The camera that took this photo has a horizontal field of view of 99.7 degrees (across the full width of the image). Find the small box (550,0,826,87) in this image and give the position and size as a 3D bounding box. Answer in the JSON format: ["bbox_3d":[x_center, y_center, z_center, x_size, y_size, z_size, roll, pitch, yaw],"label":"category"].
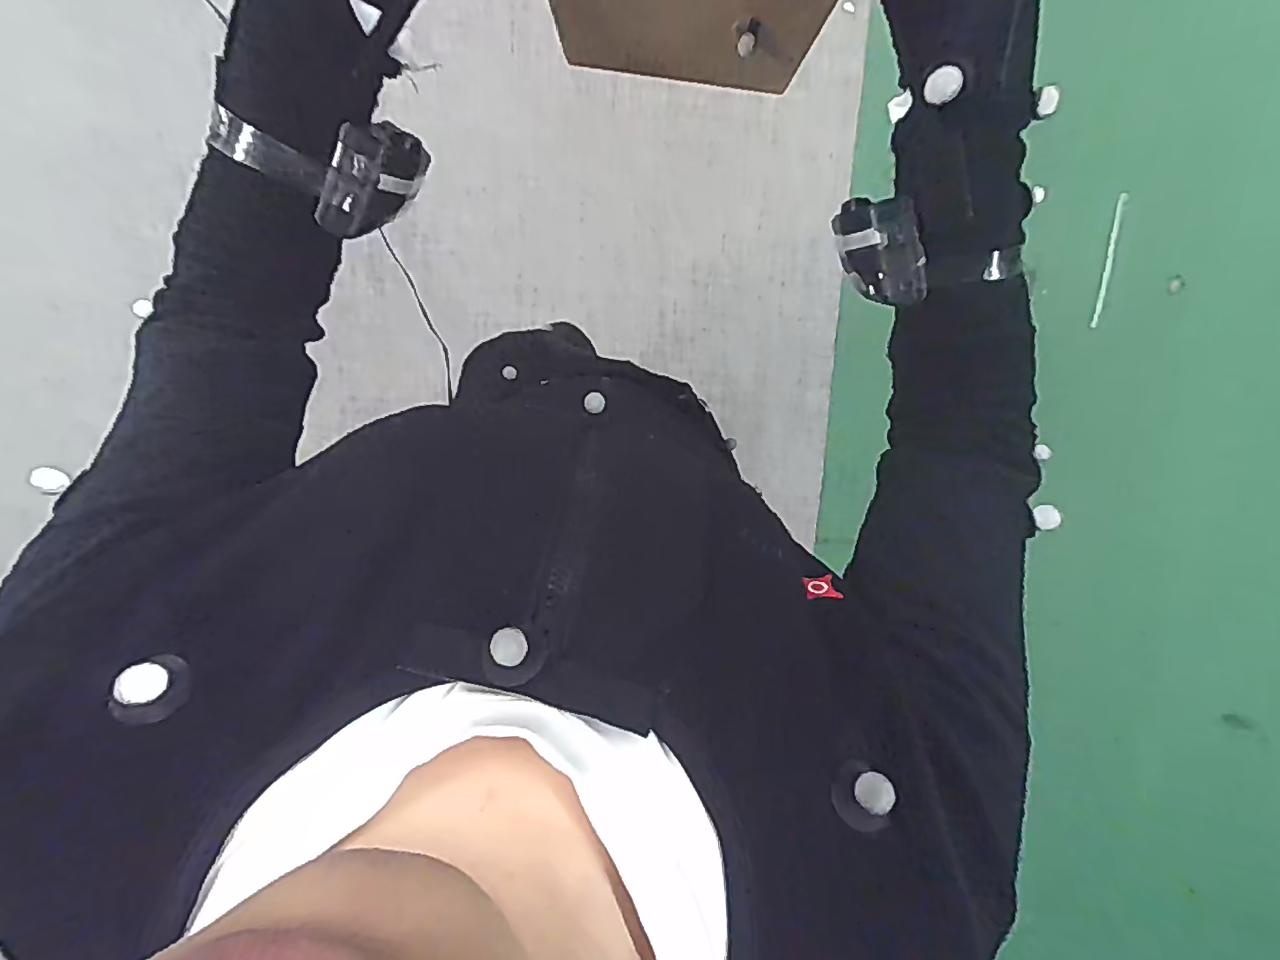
[{"bbox_3d":[0.036,-0.373,0.330,0.179,0.176,0.168,7,104,0],"label":"small box"}]
